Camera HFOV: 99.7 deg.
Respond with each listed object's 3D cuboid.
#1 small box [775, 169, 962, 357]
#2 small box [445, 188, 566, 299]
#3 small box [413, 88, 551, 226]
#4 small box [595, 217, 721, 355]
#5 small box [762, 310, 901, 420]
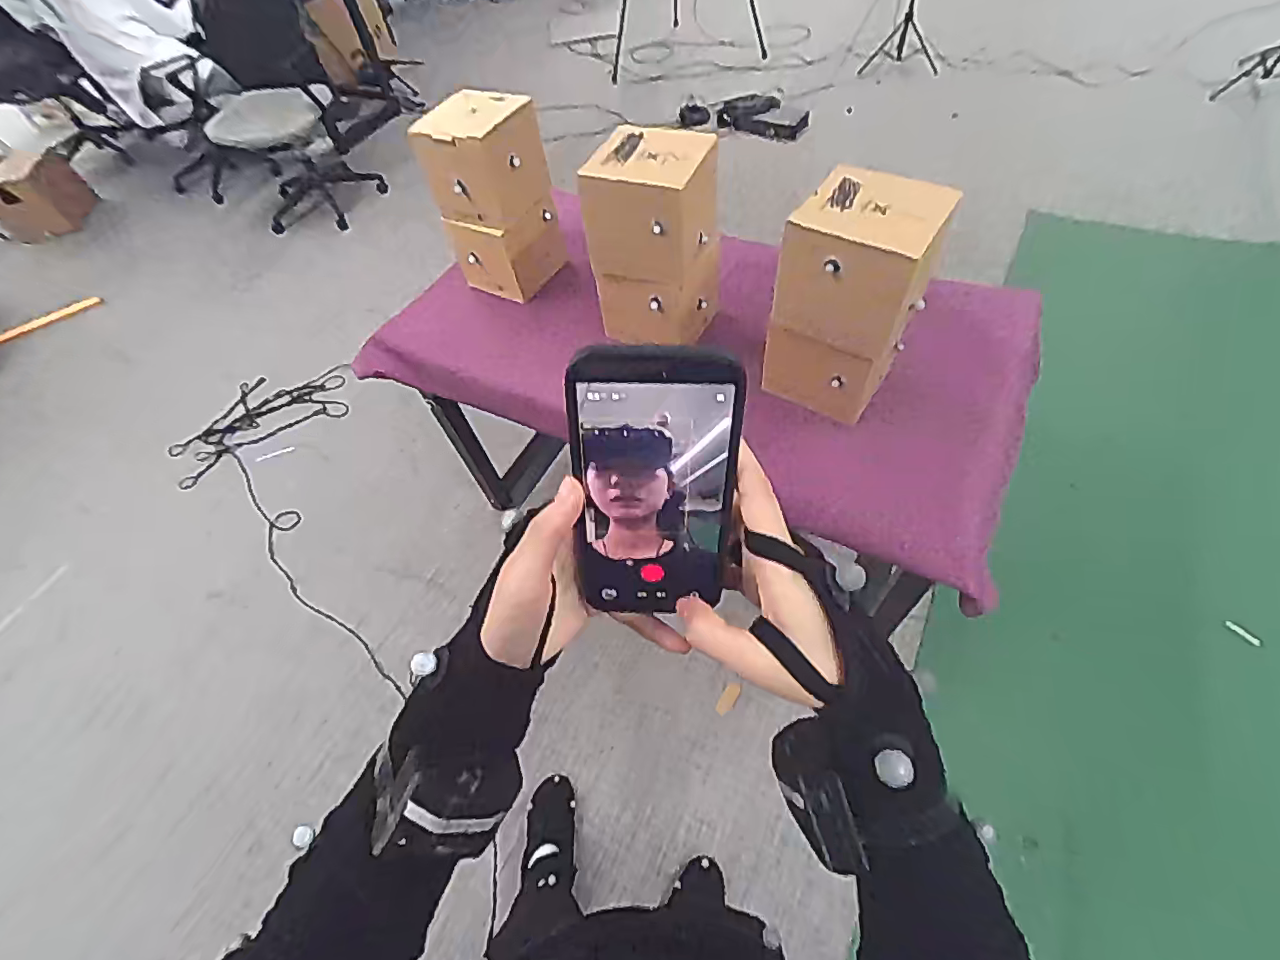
[{"bbox_3d":[0.310,-0.304,0.768,0.179,0.176,0.168,30,64,23],"label":"small box"},{"bbox_3d":[-0.283,-0.528,1.186,0.168,0.176,0.179,24,62,21],"label":"small box"},{"bbox_3d":[-0.295,-0.626,1.054,0.168,0.176,0.179,20,61,18],"label":"small box"},{"bbox_3d":[0.041,-0.367,1.038,0.179,0.176,0.168,24,62,21],"label":"small box"},{"bbox_3d":[0.325,-0.227,0.913,0.179,0.176,0.168,30,64,24],"label":"small box"}]
